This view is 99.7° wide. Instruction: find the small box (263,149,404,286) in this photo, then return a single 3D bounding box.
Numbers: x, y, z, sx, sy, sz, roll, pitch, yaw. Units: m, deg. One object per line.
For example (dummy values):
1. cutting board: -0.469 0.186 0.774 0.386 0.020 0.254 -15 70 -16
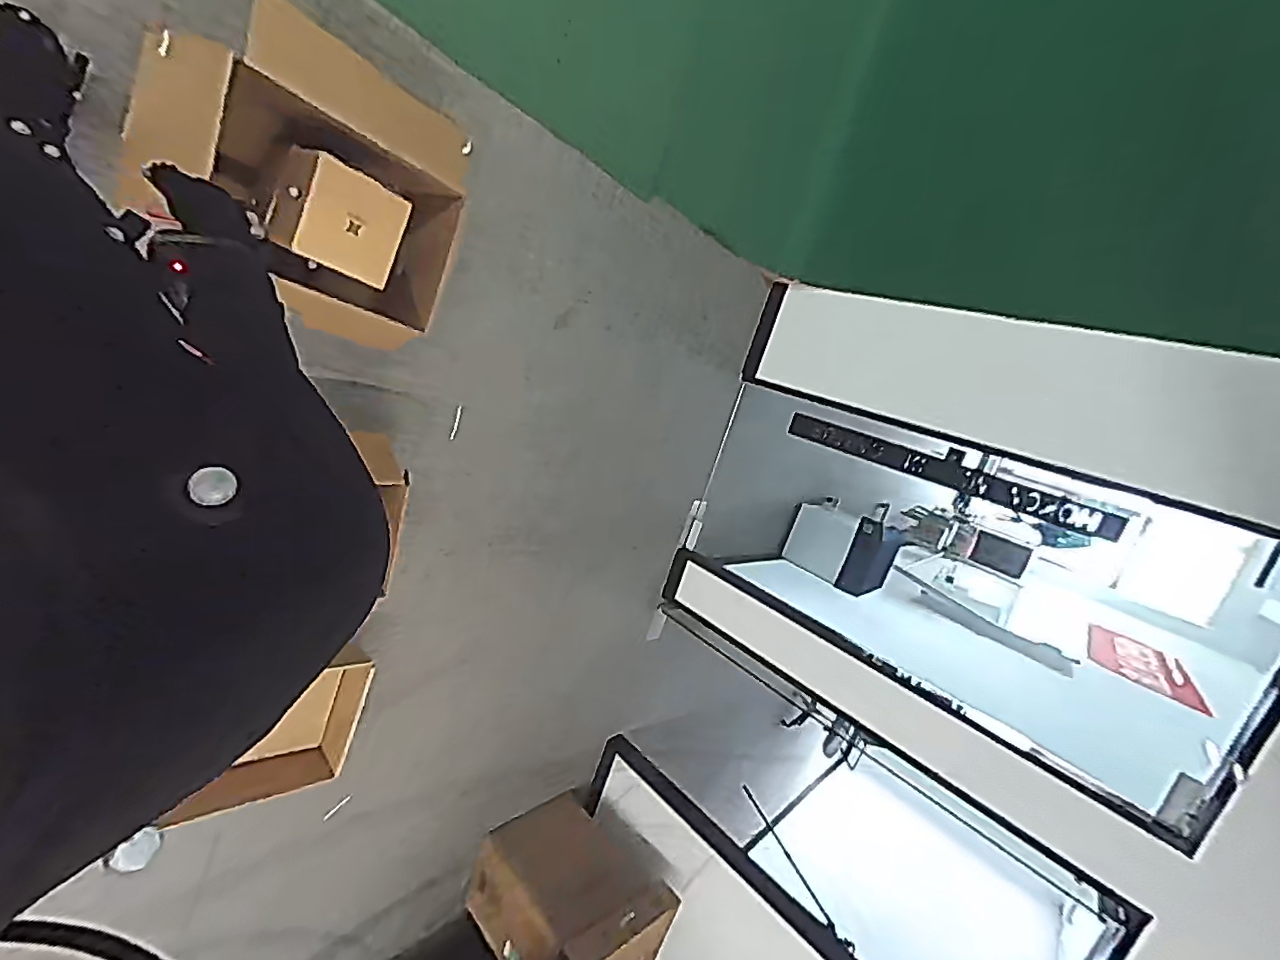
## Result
1. small box: -0.588 -0.497 1.031 0.168 0.176 0.179 13 102 -52
